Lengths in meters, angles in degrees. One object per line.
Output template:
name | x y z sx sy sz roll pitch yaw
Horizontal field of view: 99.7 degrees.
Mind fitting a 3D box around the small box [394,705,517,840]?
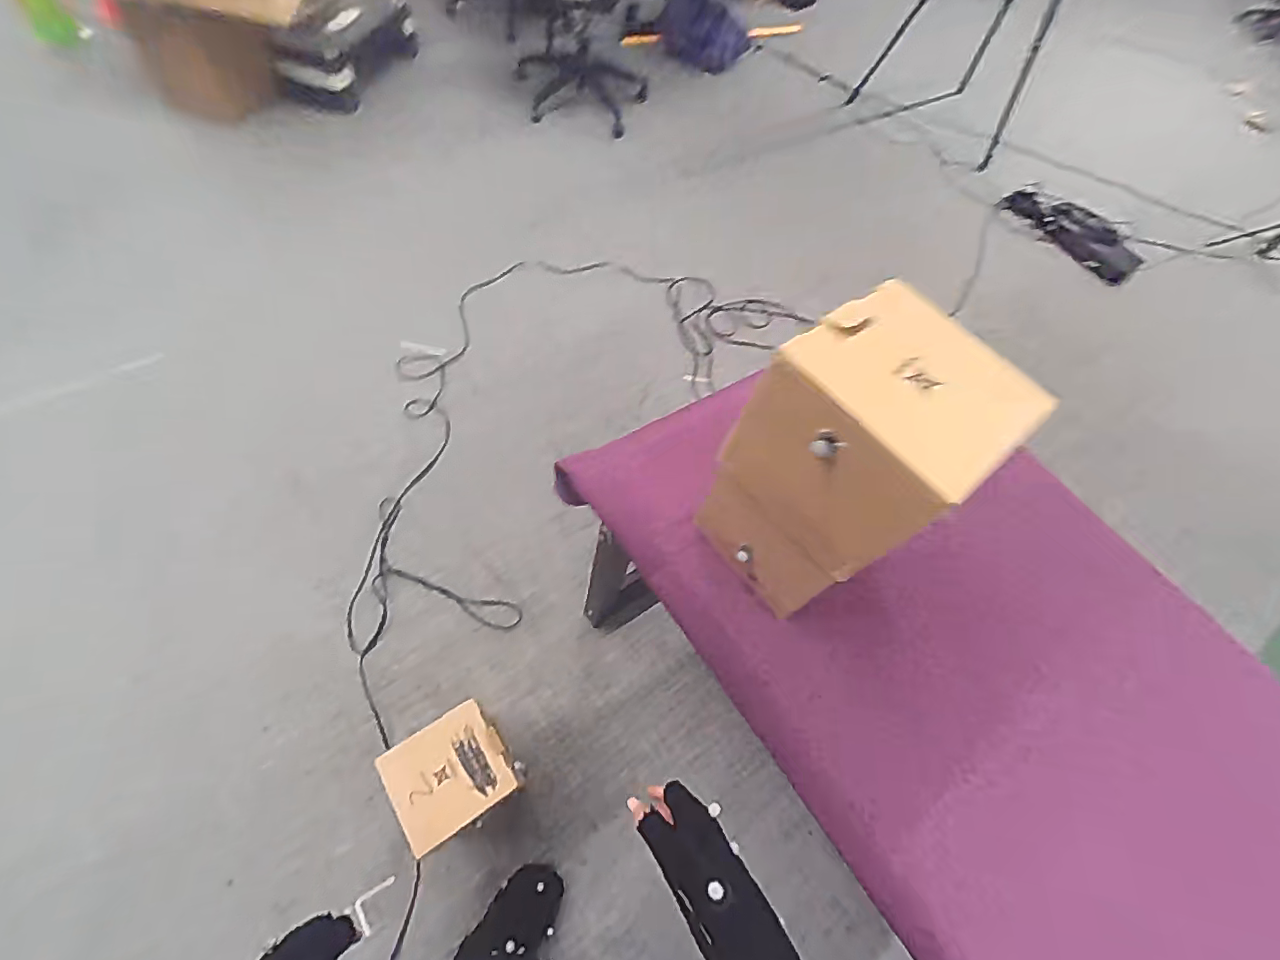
small box | -0.363 0.585 1.091 0.179 0.176 0.168 -28 68 -22

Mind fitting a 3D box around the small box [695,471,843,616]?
small box | 0.193 0.035 0.660 0.179 0.176 0.168 -33 71 -26

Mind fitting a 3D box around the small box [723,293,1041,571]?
small box | 0.209 -0.034 0.513 0.168 0.176 0.179 -33 71 -25
